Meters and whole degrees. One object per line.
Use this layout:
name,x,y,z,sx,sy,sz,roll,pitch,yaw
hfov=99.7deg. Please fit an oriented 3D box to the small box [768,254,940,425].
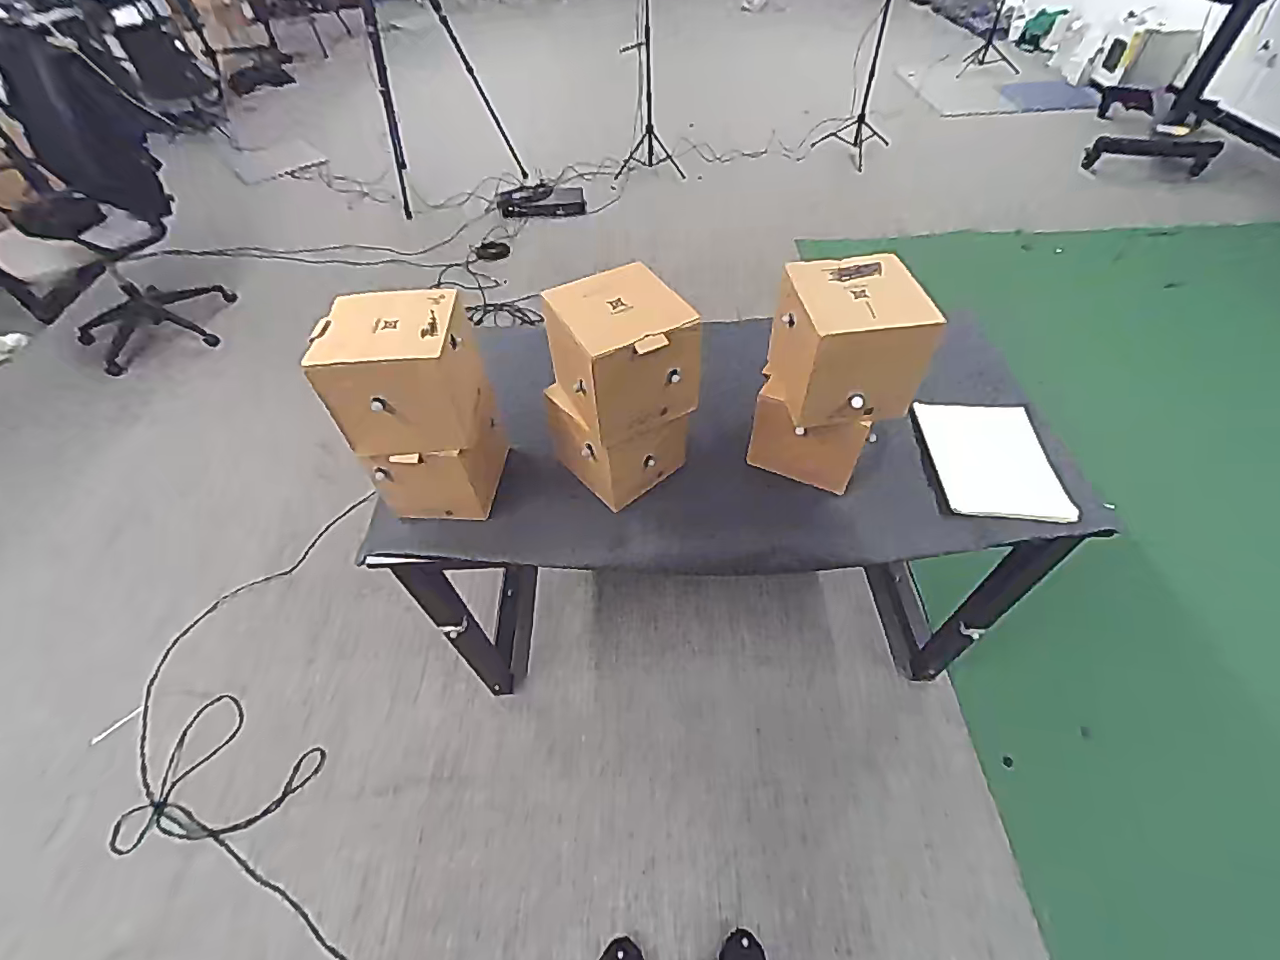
small box,0.294,-0.204,0.793,0.168,0.176,0.179,-6,51,-1

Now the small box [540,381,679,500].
small box,-0.044,-0.089,0.928,0.168,0.176,0.179,-35,57,-24

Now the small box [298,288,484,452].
small box,-0.343,-0.156,0.785,0.179,0.176,0.168,-5,50,-1

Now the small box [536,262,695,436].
small box,-0.033,-0.186,0.797,0.168,0.176,0.179,-24,53,-17

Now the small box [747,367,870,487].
small box,0.298,-0.112,0.930,0.179,0.176,0.168,21,55,20
